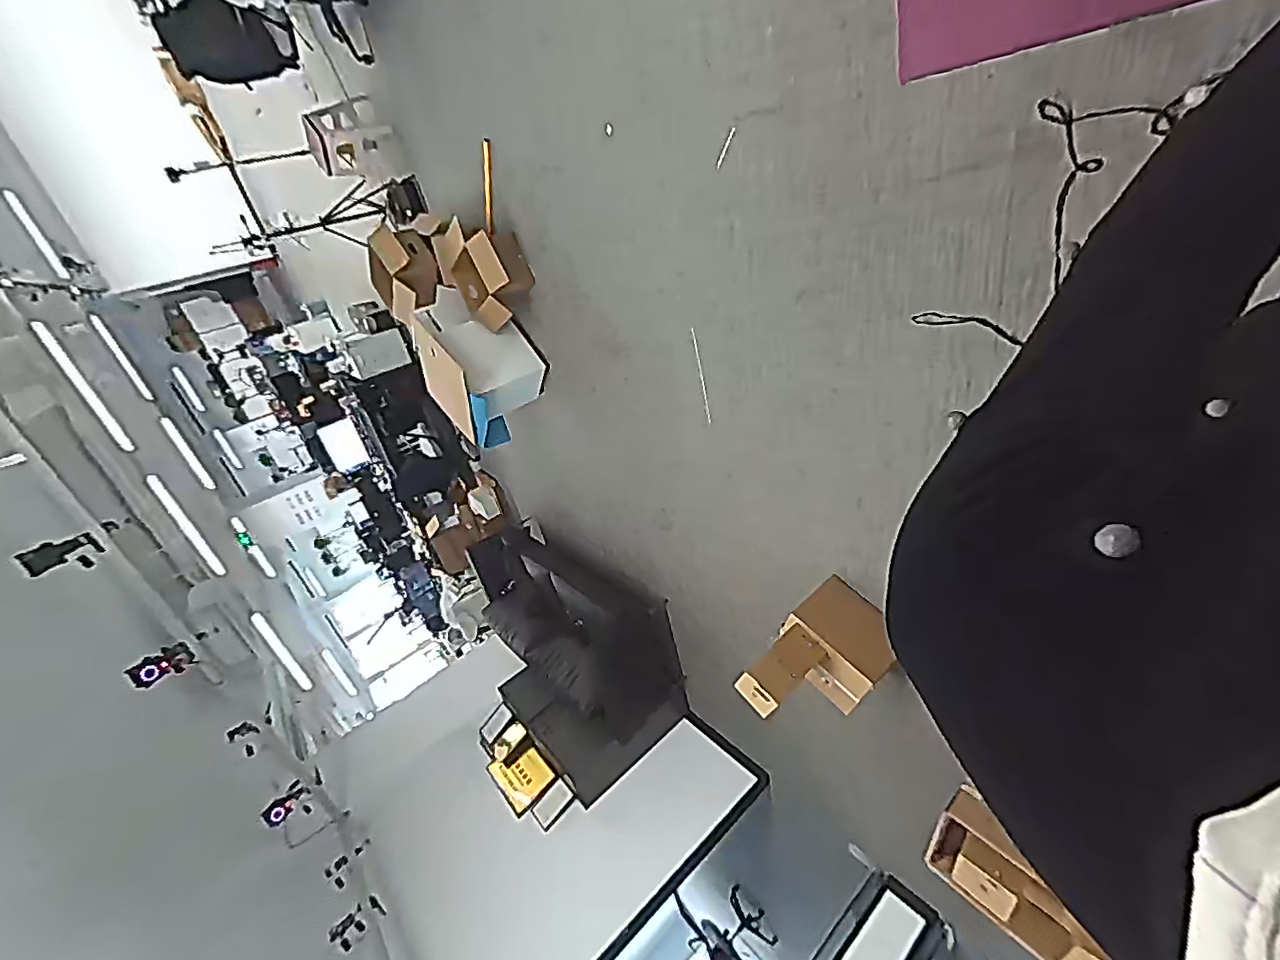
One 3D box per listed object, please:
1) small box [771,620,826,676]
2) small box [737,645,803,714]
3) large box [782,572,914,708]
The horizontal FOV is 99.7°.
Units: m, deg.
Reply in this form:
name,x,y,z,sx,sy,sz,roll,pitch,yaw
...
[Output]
name,x,y,z,sx,sy,sz,roll,pitch,yaw
small box,0.636,0.716,2.231,0.168,0.176,0.179,44,146,23
small box,0.517,0.788,2.144,0.168,0.176,0.179,44,148,23
large box,0.875,0.681,2.335,0.408,0.320,0.320,40,147,29
